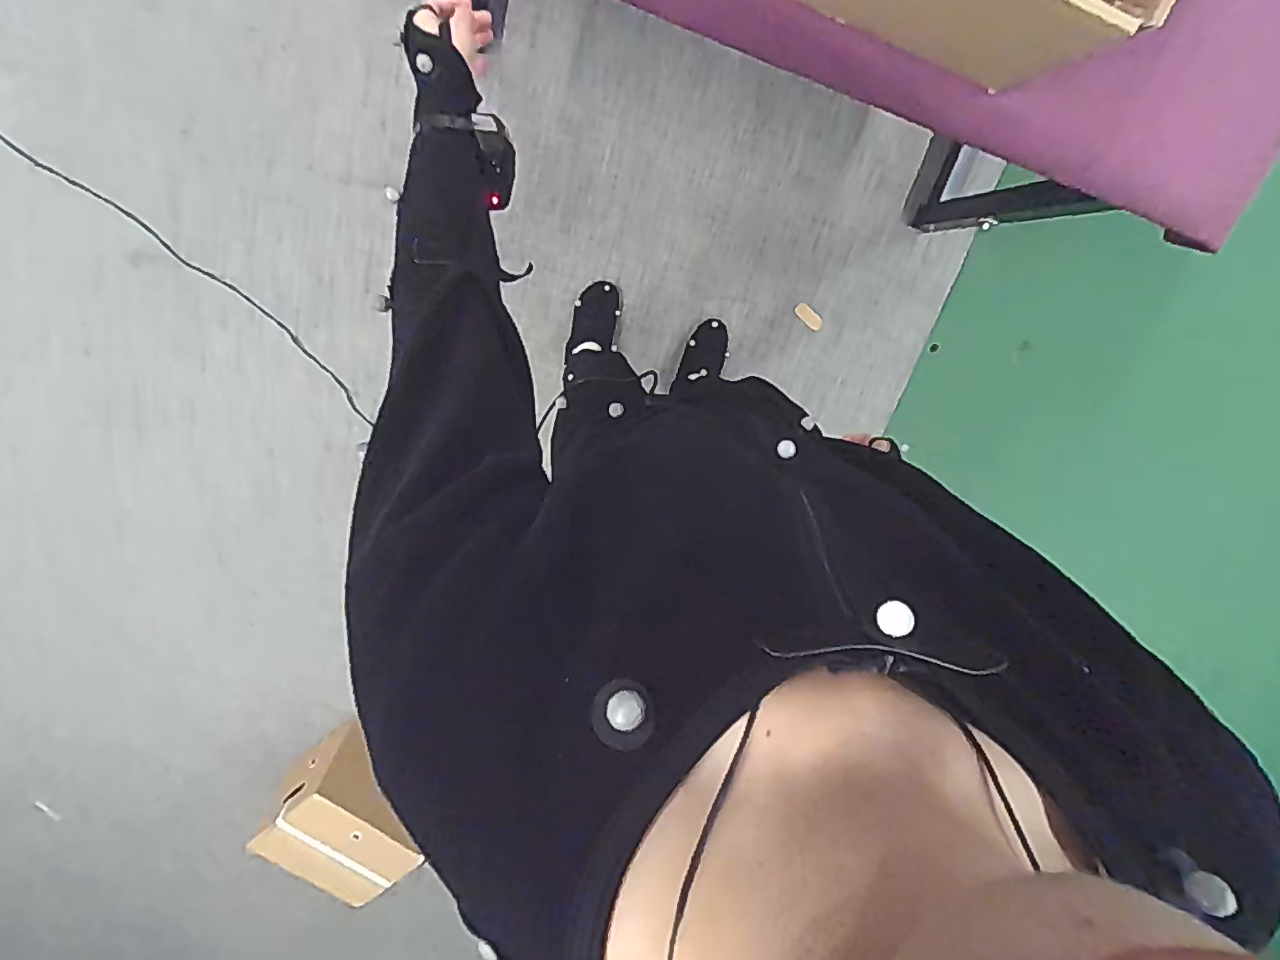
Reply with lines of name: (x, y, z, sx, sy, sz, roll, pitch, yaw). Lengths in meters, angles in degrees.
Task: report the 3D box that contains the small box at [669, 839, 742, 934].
small box: (0.189, 1.206, 1.612, 0.179, 0.176, 0.168, 4, 109, -5)
